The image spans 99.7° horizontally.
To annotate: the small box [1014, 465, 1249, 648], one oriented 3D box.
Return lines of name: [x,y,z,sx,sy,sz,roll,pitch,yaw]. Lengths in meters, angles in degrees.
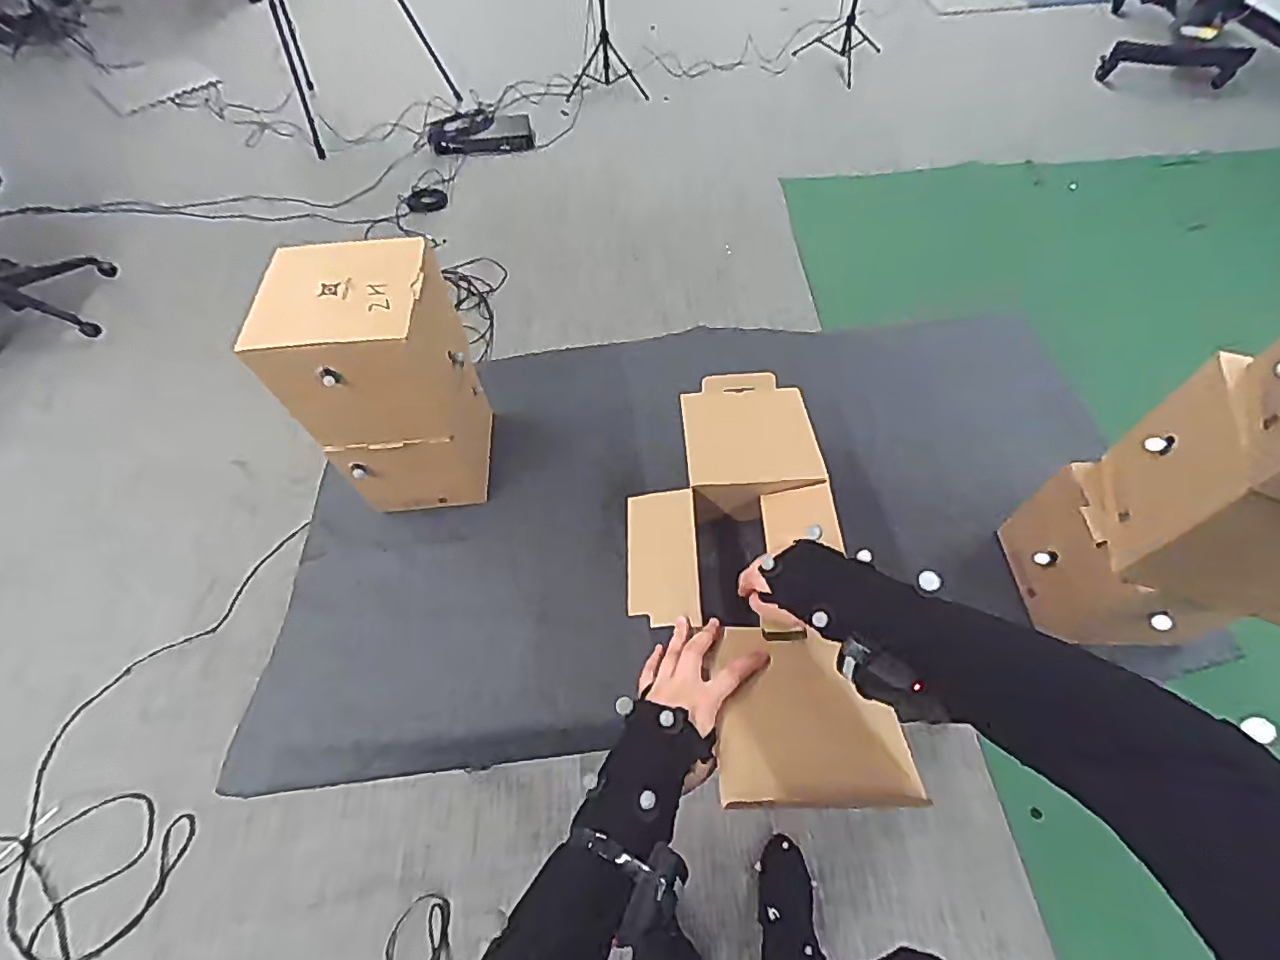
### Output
small box: [0.591,0.096,0.649,0.179,0.176,0.168,-1,56,3]

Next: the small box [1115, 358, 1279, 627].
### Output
small box: [0.589,0.019,0.504,0.179,0.176,0.168,18,58,13]

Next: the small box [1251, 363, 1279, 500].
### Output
small box: [0.583,-0.054,0.354,0.179,0.176,0.168,27,61,19]

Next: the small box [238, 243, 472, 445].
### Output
small box: [-0.319,-0.155,0.649,0.179,0.176,0.168,-5,59,-1]

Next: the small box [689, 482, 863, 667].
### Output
small box: [0.148,0.122,0.655,0.168,0.176,0.179,-3,57,2]
